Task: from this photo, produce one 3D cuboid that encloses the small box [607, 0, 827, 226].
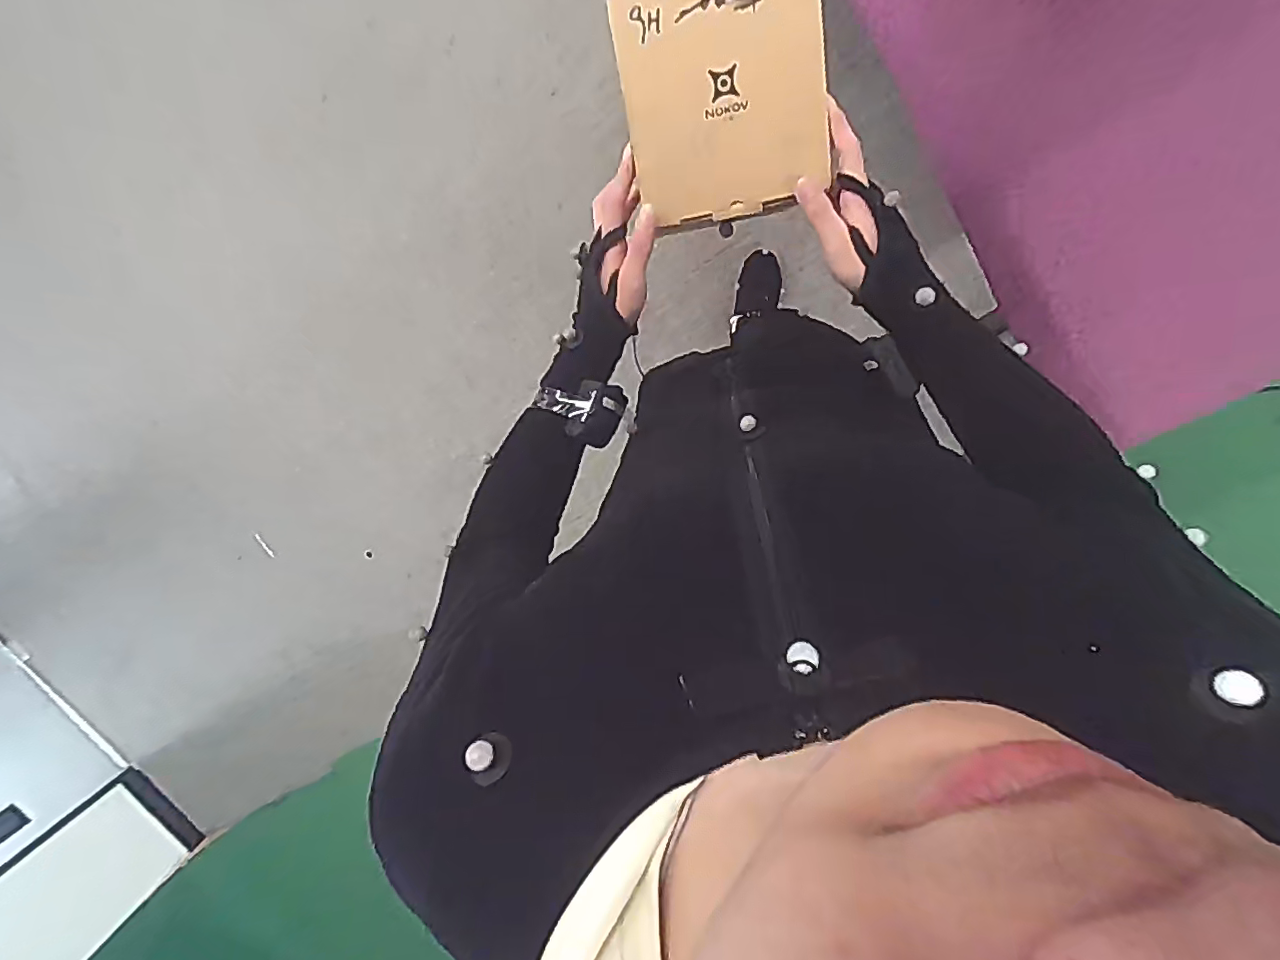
[{"bbox_3d":[0.071,-0.349,0.514,0.168,0.176,0.179,-9,112,6],"label":"small box"}]
